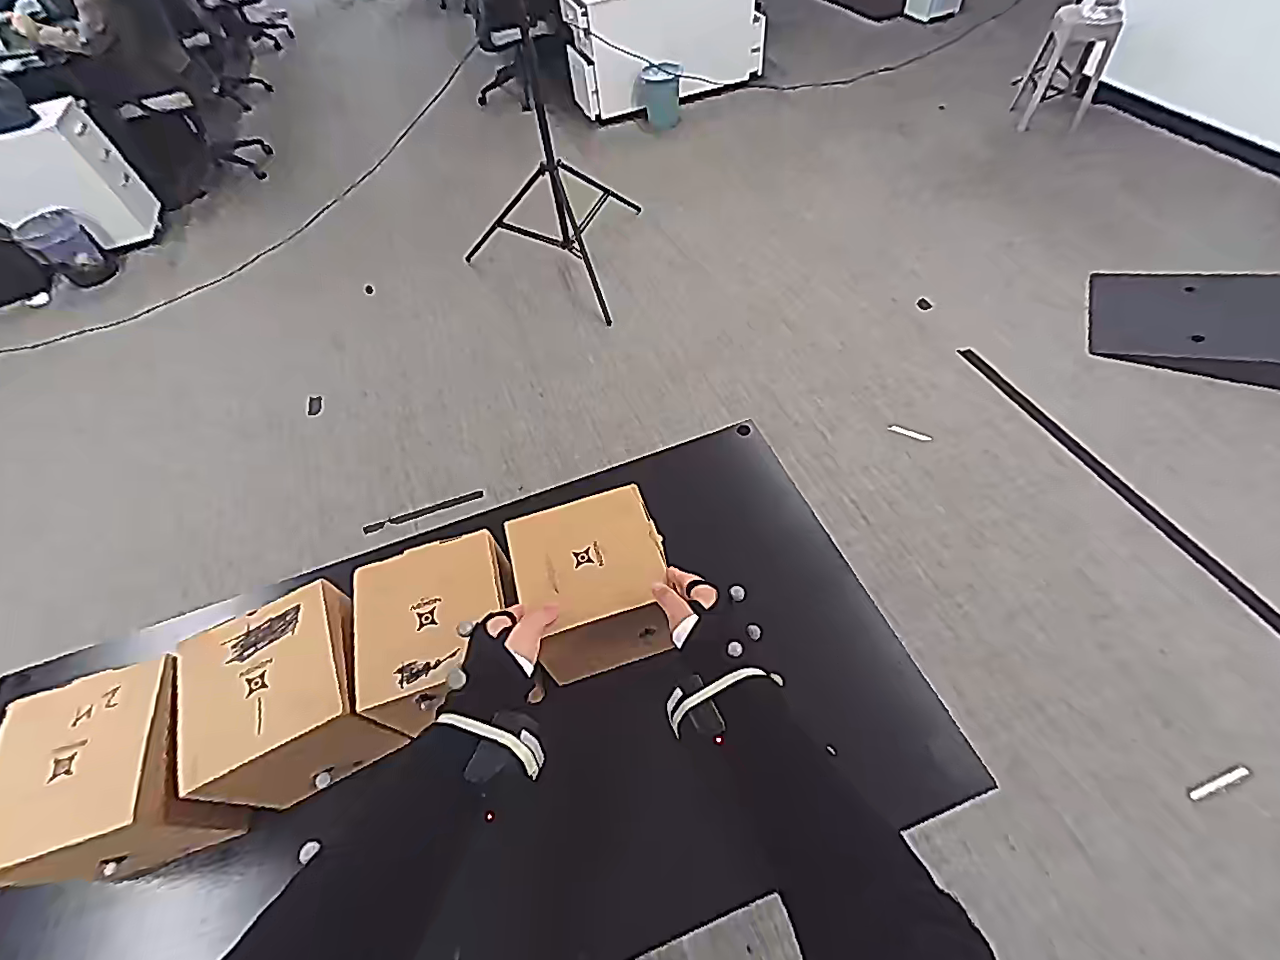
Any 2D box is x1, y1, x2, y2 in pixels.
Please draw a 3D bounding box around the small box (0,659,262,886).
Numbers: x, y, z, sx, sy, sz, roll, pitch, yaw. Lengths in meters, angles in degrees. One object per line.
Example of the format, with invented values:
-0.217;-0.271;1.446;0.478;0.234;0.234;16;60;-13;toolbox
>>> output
-0.576;0.338;0.624;0.168;0.176;0.179;-17;54;-7;small box
